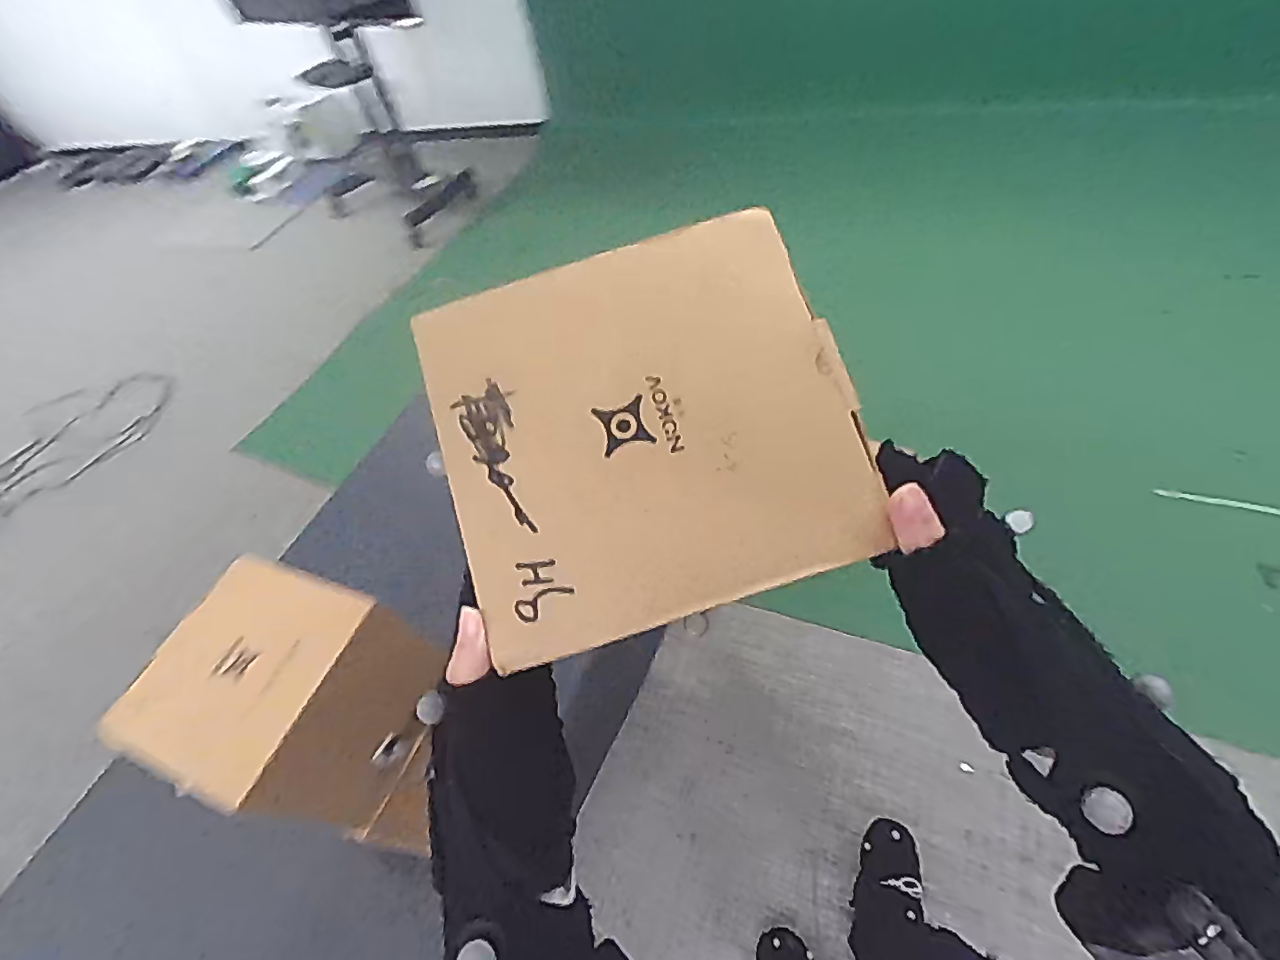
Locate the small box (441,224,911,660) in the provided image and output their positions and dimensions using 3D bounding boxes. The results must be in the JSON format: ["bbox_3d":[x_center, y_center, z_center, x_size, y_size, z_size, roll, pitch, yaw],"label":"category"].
[{"bbox_3d":[0.012,-0.007,0.316,0.179,0.176,0.168,-16,77,-2],"label":"small box"}]

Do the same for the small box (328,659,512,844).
[{"bbox_3d":[-0.280,0.307,0.649,0.168,0.176,0.179,12,56,20],"label":"small box"}]

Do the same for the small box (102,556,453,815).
[{"bbox_3d":[-0.318,0.198,0.514,0.179,0.176,0.168,11,58,19],"label":"small box"}]
